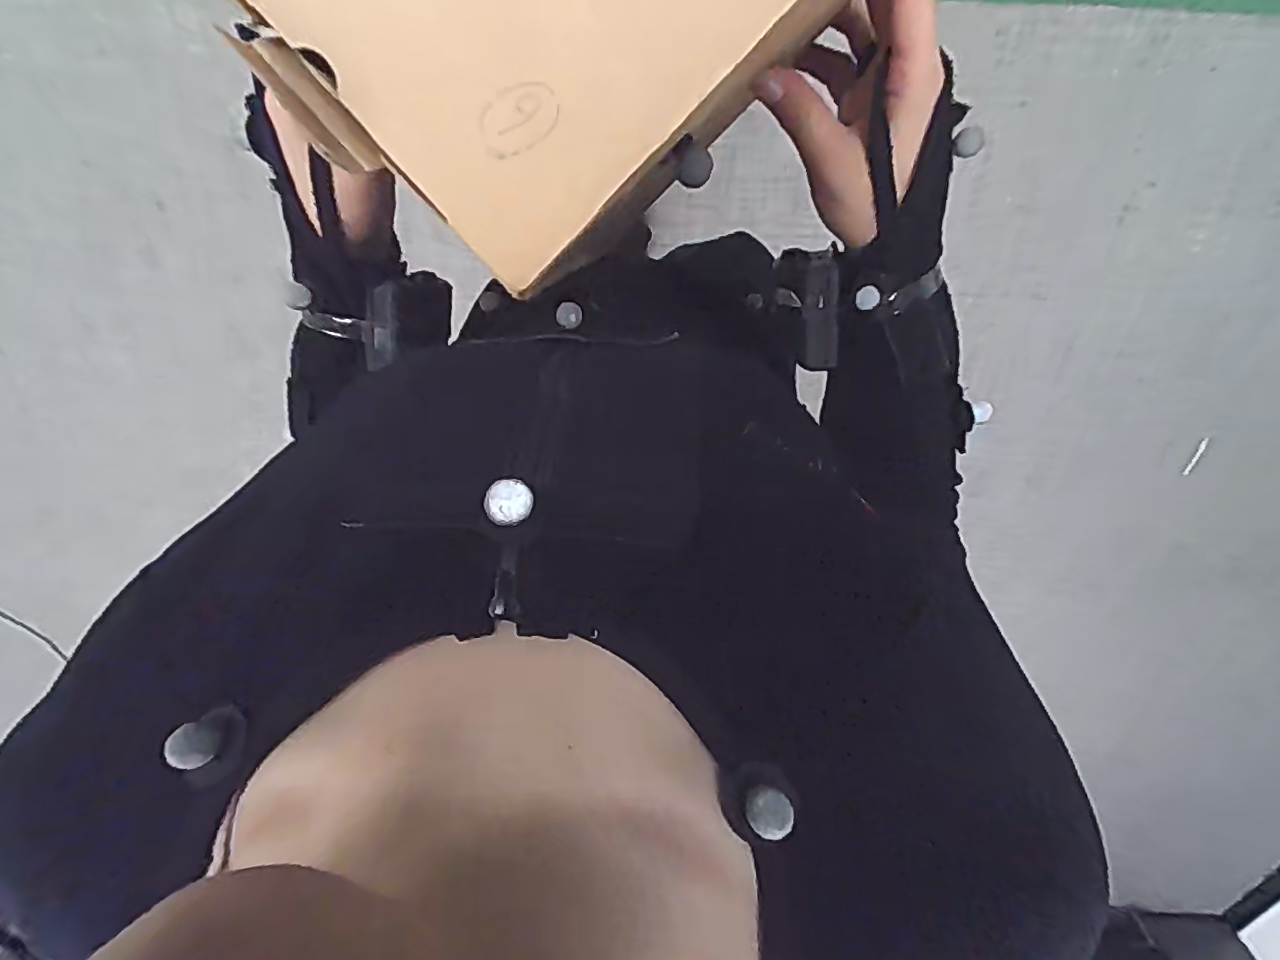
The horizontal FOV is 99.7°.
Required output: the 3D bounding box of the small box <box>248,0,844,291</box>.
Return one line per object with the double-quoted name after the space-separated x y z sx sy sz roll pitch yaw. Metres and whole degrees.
-0.023 -0.206 0.214 0.179 0.176 0.168 -38 108 22 "small box"
